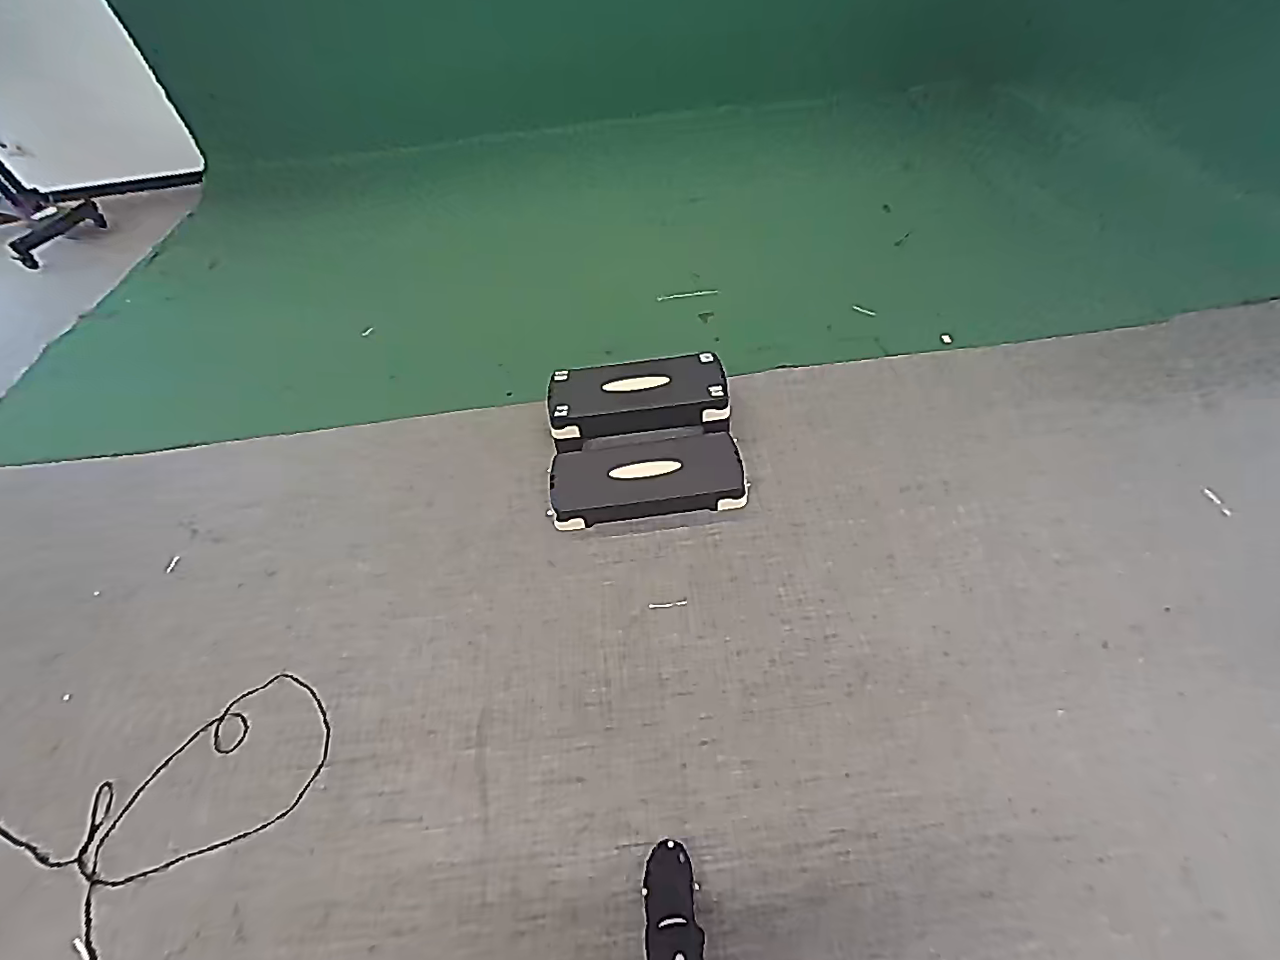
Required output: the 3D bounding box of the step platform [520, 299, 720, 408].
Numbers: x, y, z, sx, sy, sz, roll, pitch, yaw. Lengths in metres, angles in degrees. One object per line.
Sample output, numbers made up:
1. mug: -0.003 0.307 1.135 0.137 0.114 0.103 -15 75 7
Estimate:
1. step platform: -0.067 -0.449 1.923 0.684 0.204 0.286 -8 51 0
